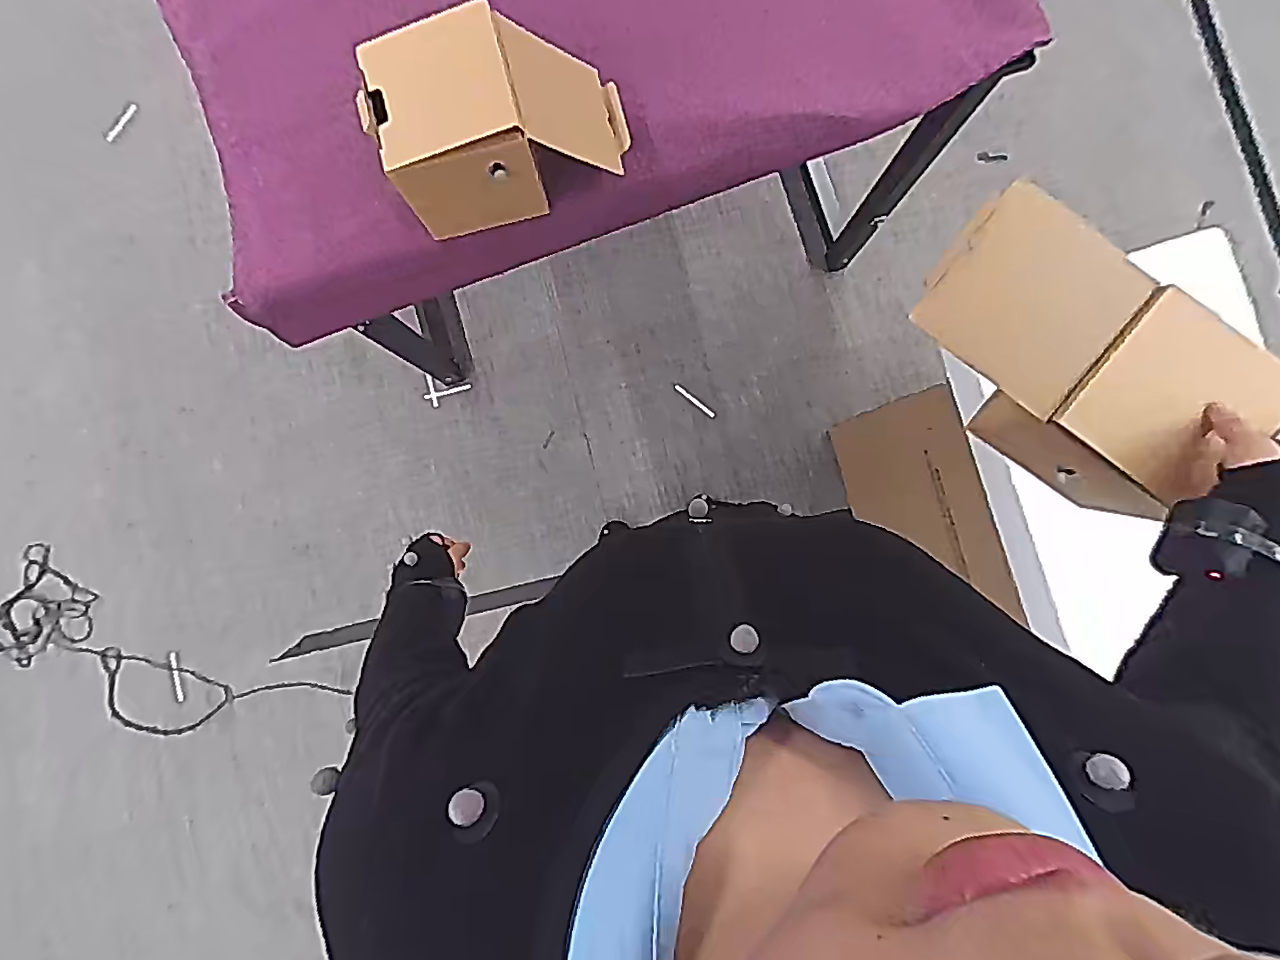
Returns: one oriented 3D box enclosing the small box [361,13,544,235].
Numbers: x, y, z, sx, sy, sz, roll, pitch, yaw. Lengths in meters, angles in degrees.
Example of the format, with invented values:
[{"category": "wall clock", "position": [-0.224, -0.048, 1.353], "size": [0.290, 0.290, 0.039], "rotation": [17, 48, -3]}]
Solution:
[{"category": "small box", "position": [-0.235, -0.463, 0.729], "size": [0.179, 0.176, 0.168], "rotation": [-14, 86, 0]}]
